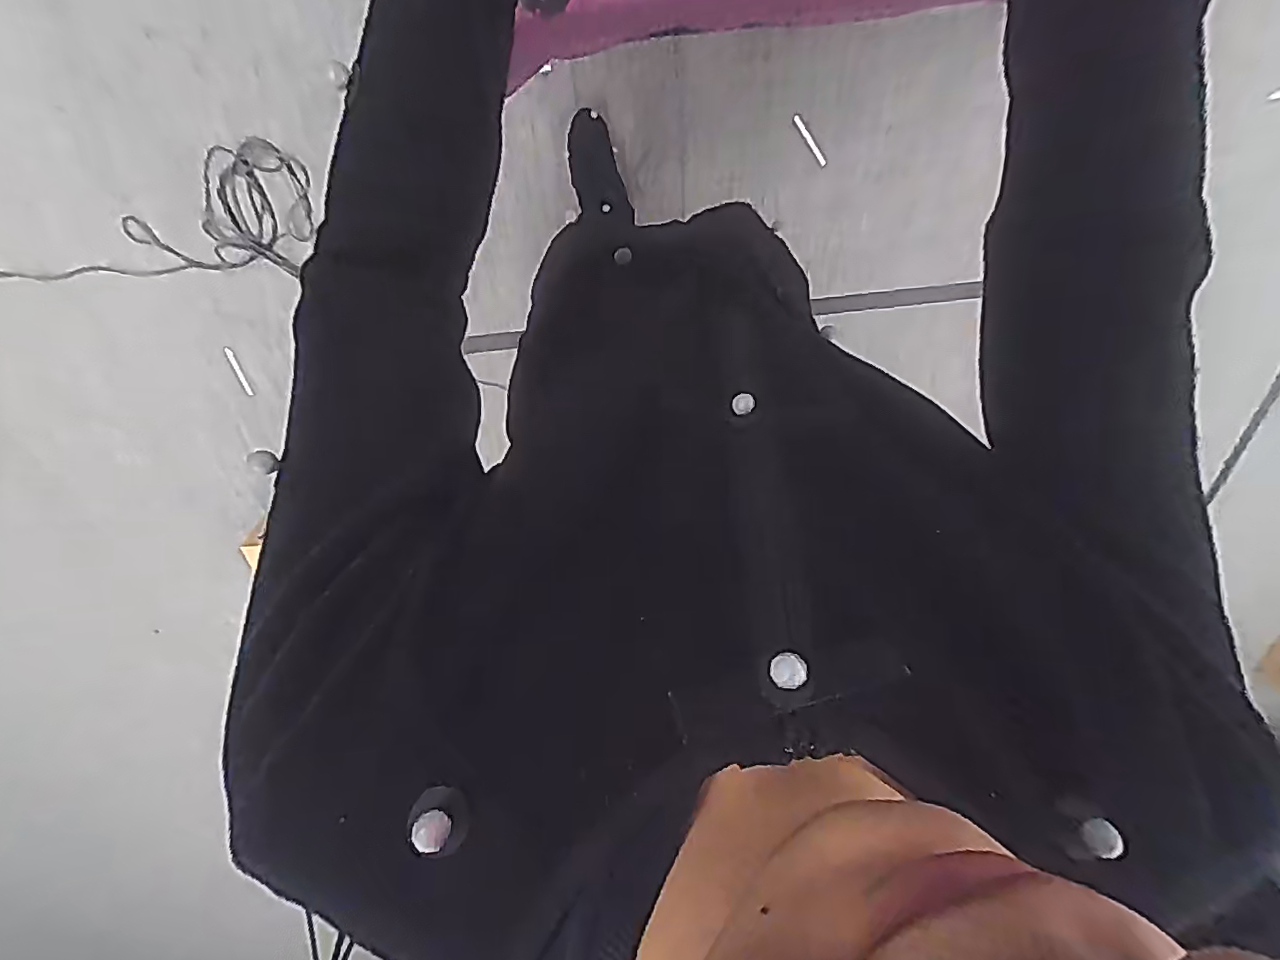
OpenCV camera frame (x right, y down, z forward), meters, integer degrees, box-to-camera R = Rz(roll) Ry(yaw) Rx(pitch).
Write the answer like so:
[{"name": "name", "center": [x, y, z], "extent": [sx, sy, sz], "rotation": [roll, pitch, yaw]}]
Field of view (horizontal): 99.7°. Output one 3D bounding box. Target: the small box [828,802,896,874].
[{"name": "small box", "center": [0.821, 1.337, 2.022], "extent": [0.168, 0.176, 0.179], "rotation": [-6, 125, -4]}]

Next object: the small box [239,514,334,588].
[{"name": "small box", "center": [-1.125, 0.225, 1.736], "extent": [0.179, 0.176, 0.168], "rotation": [-4, 125, -5]}]
